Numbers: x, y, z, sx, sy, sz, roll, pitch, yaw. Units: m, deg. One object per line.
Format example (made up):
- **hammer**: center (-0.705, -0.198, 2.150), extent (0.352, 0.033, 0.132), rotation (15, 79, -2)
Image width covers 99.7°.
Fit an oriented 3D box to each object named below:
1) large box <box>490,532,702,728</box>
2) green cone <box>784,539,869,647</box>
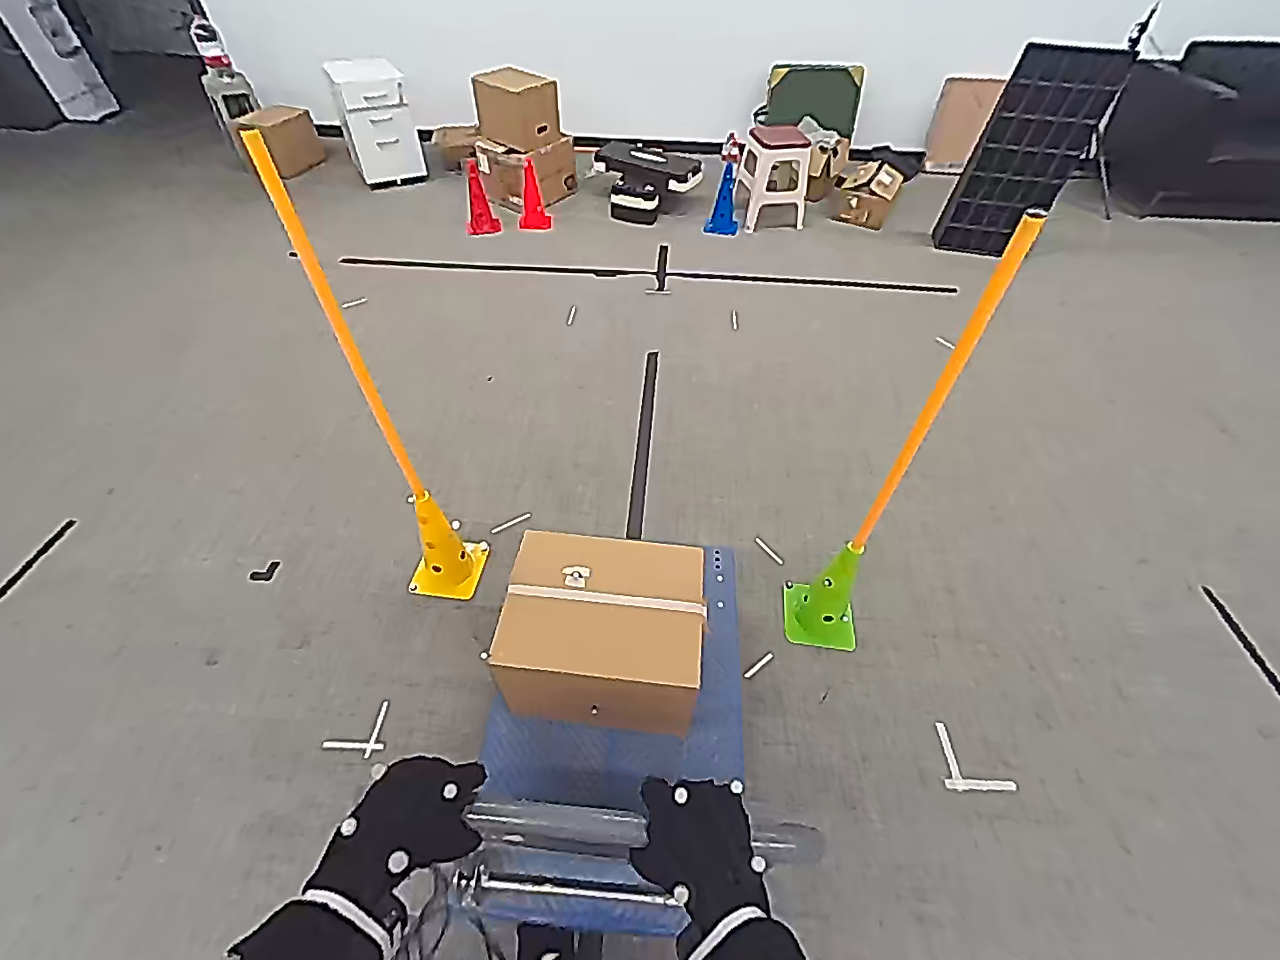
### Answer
- **large box**: center (-0.074, 0.343, 1.223), extent (0.408, 0.320, 0.320), rotation (5, 49, 4)
- **green cone**: center (0.541, 0.283, 1.488), extent (0.202, 0.368, 0.200), rotation (8, 49, 3)
